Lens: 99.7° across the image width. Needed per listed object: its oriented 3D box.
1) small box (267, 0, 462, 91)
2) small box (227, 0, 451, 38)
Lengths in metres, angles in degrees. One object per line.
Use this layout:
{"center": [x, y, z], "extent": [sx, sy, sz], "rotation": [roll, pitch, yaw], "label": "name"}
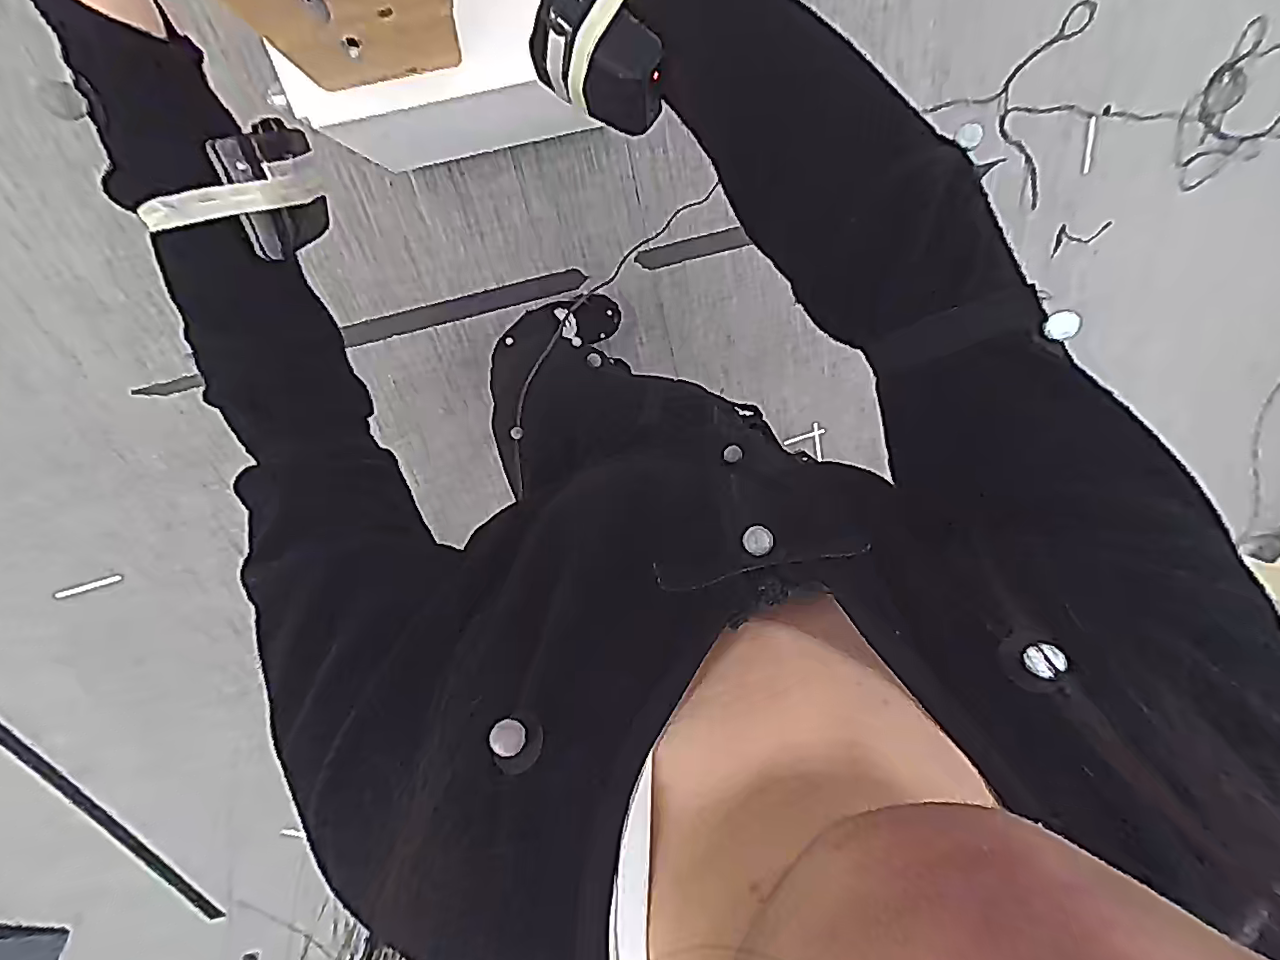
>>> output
{"center": [-0.283, -0.513, 0.522], "extent": [0.168, 0.176, 0.179], "rotation": [-17, 116, -7], "label": "small box"}
{"center": [-0.244, -0.447, 0.379], "extent": [0.168, 0.176, 0.179], "rotation": [-18, 117, -6], "label": "small box"}
